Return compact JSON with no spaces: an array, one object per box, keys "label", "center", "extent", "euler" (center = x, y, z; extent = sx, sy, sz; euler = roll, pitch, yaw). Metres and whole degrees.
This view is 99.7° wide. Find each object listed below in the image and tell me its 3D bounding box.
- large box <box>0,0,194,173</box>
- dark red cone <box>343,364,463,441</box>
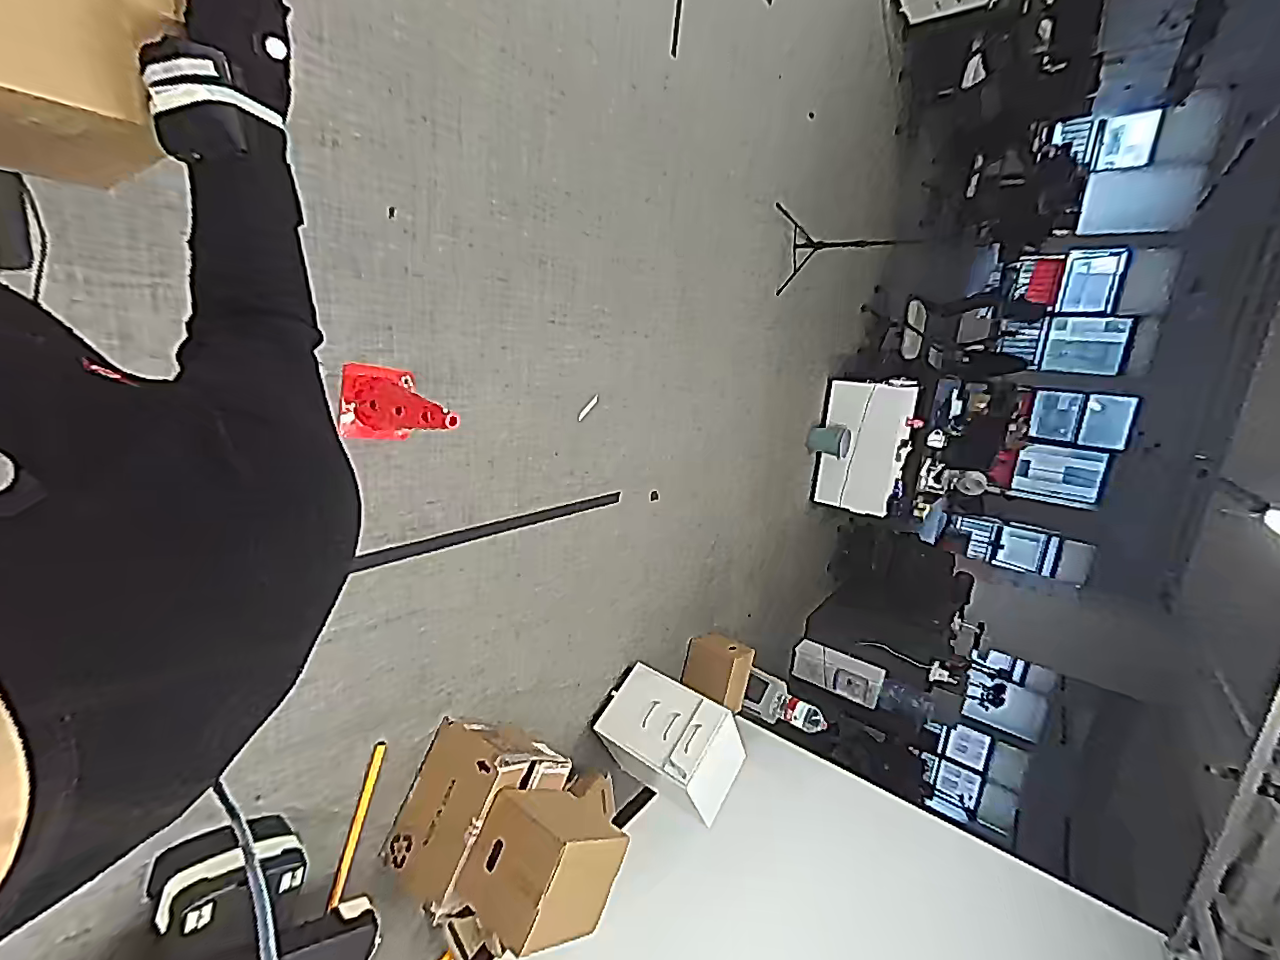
[{"label":"large box","center":[-0.564,-0.410,0.299],"extent":[0.408,0.320,0.320],"euler":[-14,113,-52]},{"label":"dark red cone","center":[-0.578,-0.172,1.380],"extent":[0.201,0.394,0.202],"euler":[-3,104,-52]}]
